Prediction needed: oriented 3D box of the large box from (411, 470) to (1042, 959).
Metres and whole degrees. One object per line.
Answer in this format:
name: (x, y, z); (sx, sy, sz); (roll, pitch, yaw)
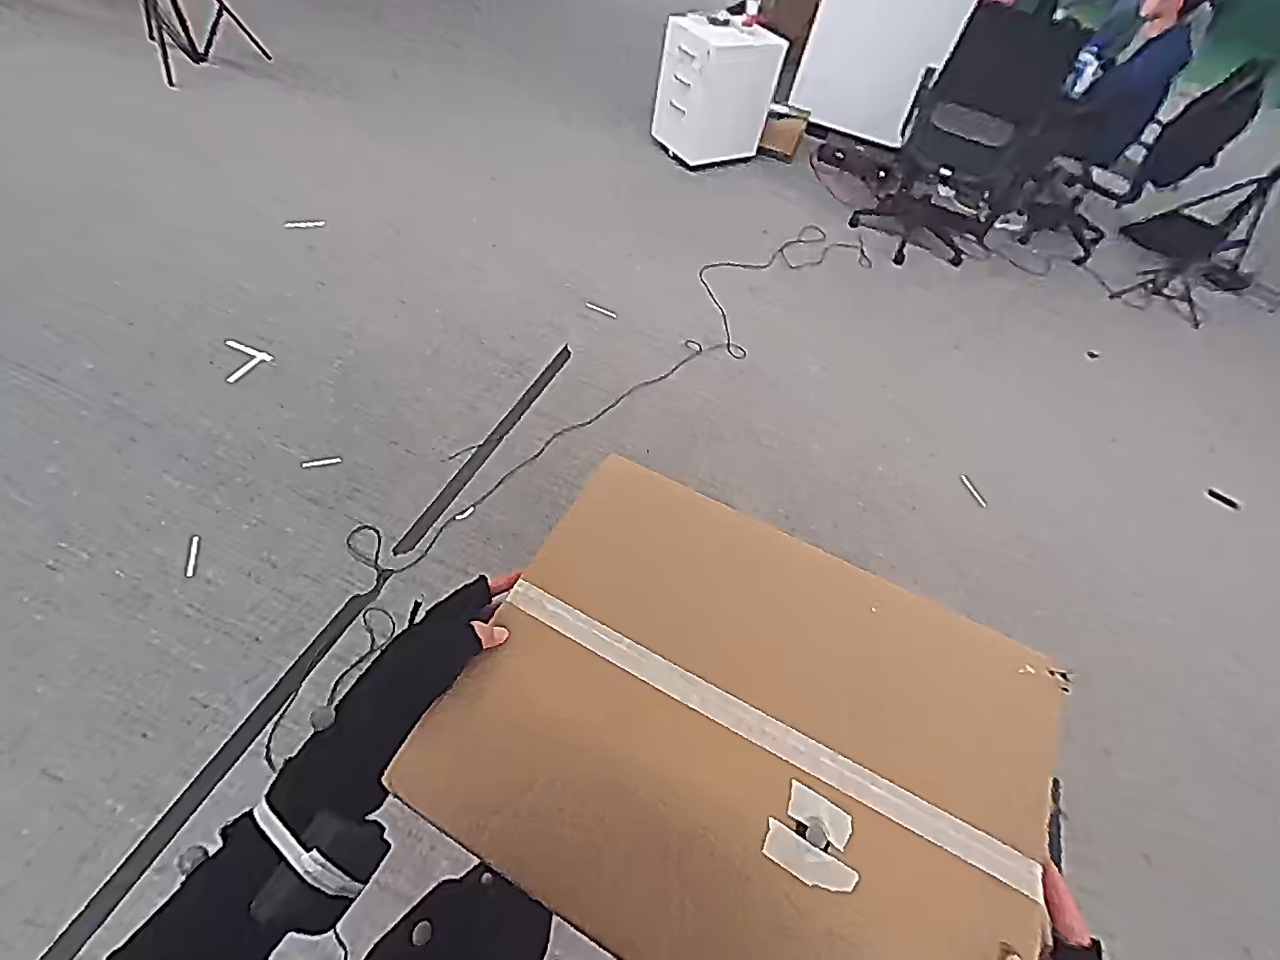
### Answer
large box: (0.074, 0.258, 0.534); (0.408, 0.320, 0.320); (26, 61, 14)
